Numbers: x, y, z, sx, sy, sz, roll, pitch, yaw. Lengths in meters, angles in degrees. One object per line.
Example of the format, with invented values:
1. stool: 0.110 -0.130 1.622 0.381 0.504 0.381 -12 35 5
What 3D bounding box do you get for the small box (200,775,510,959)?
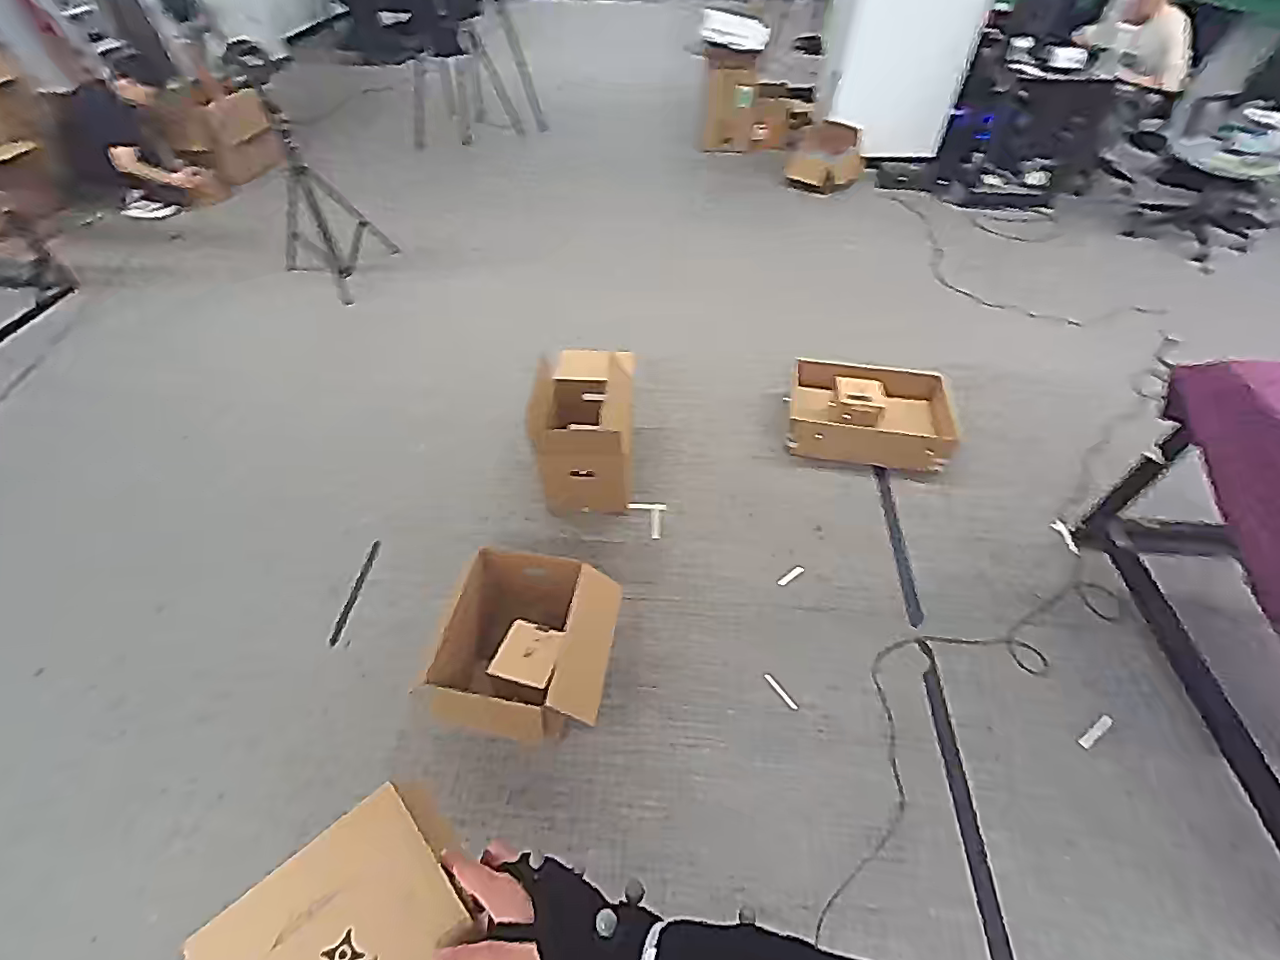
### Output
1. small box: -0.229 0.392 0.482 0.168 0.176 0.179 -32 72 -26
